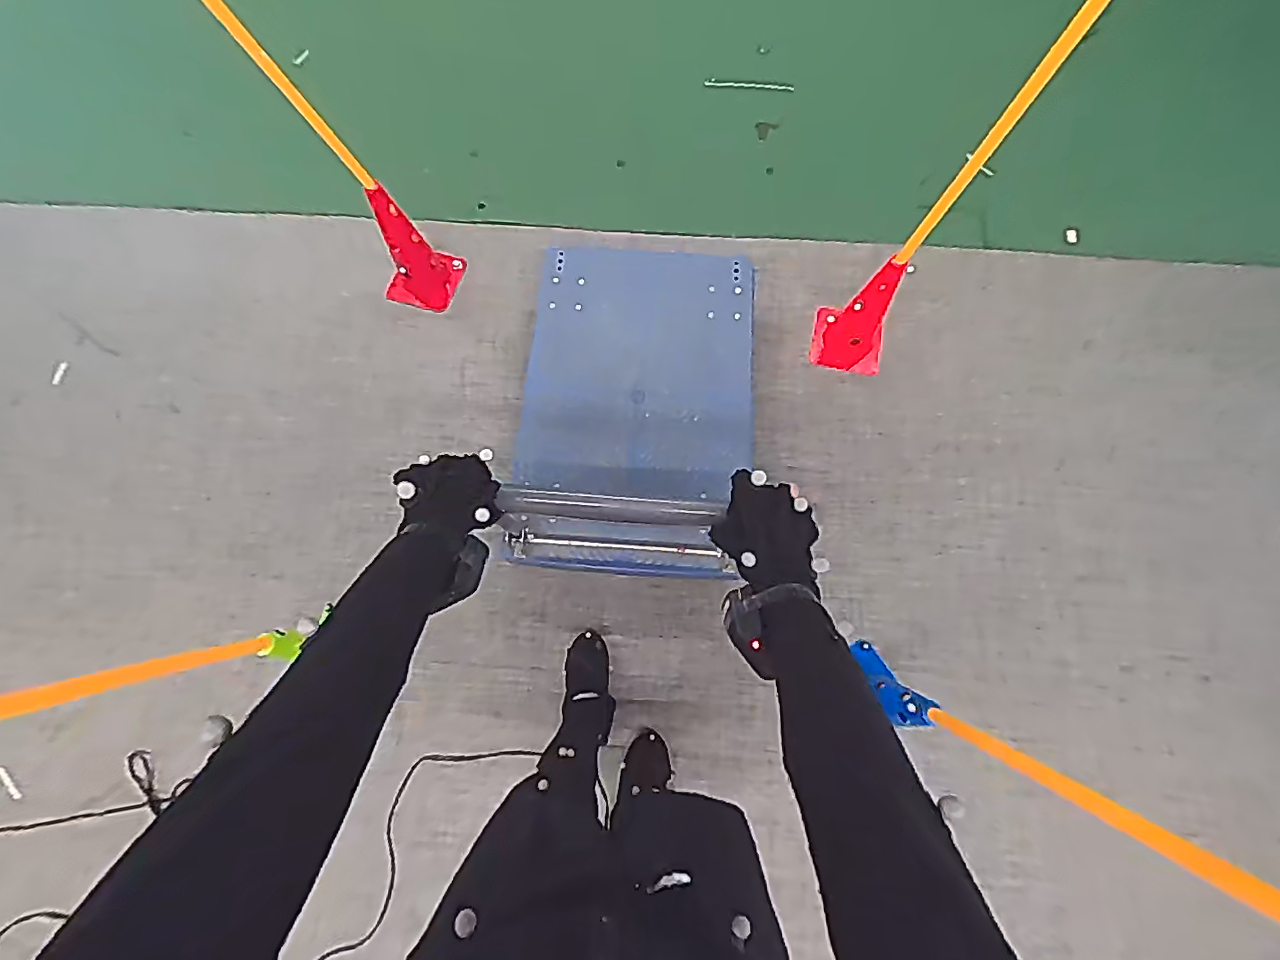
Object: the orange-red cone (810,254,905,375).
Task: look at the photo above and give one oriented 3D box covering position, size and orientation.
[{"bbox_3d":[0.610,-0.463,1.437,0.198,0.360,0.199,14,74,5],"label":"orange-red cone"}]
